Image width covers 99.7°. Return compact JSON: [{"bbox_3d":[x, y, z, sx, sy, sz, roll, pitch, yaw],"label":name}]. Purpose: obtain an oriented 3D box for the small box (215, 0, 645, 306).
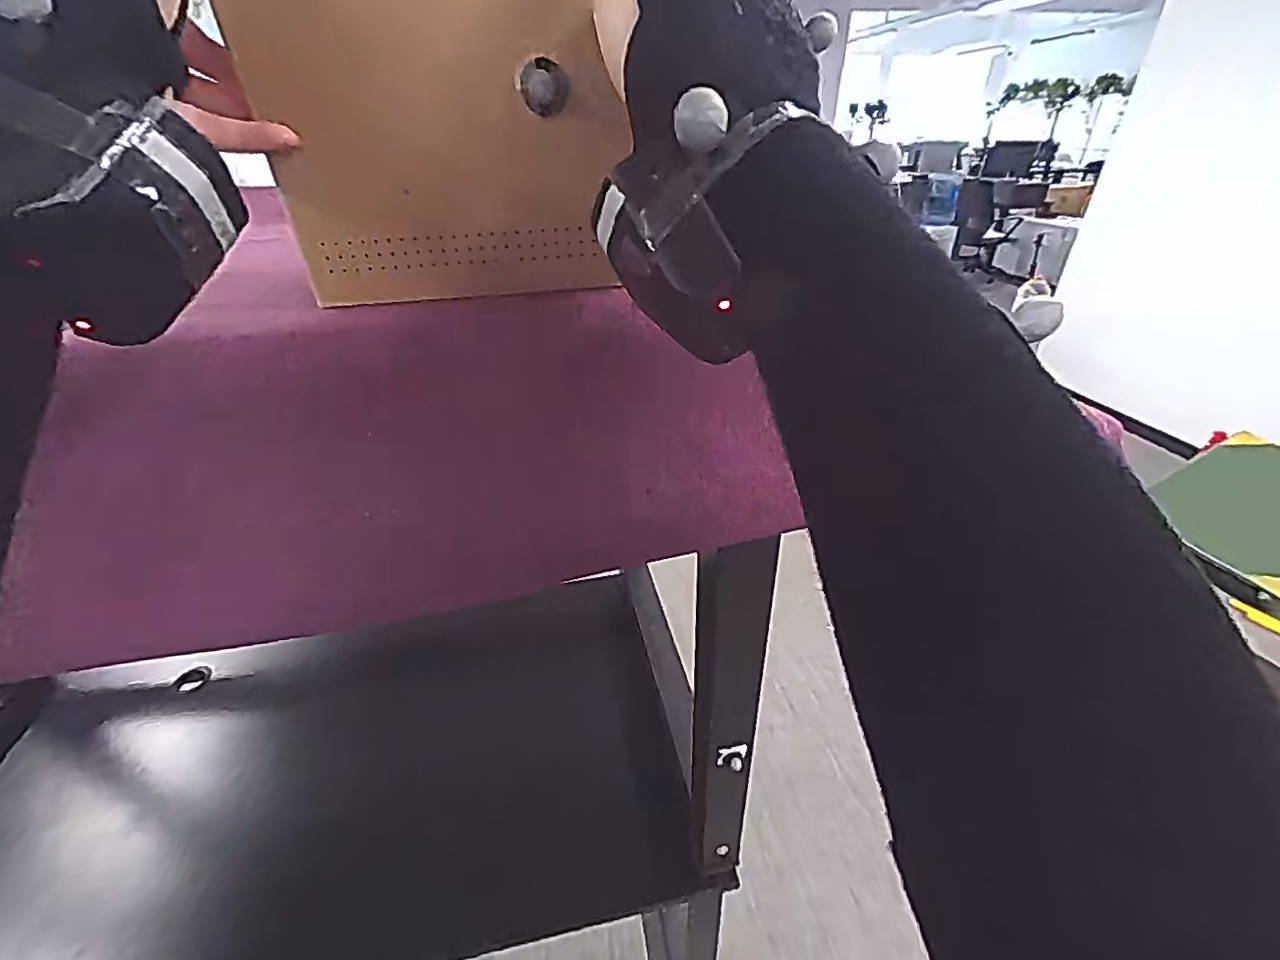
[{"bbox_3d":[-0.090,-0.207,0.308,0.179,0.176,0.168,-5,32,-4],"label":"small box"}]
